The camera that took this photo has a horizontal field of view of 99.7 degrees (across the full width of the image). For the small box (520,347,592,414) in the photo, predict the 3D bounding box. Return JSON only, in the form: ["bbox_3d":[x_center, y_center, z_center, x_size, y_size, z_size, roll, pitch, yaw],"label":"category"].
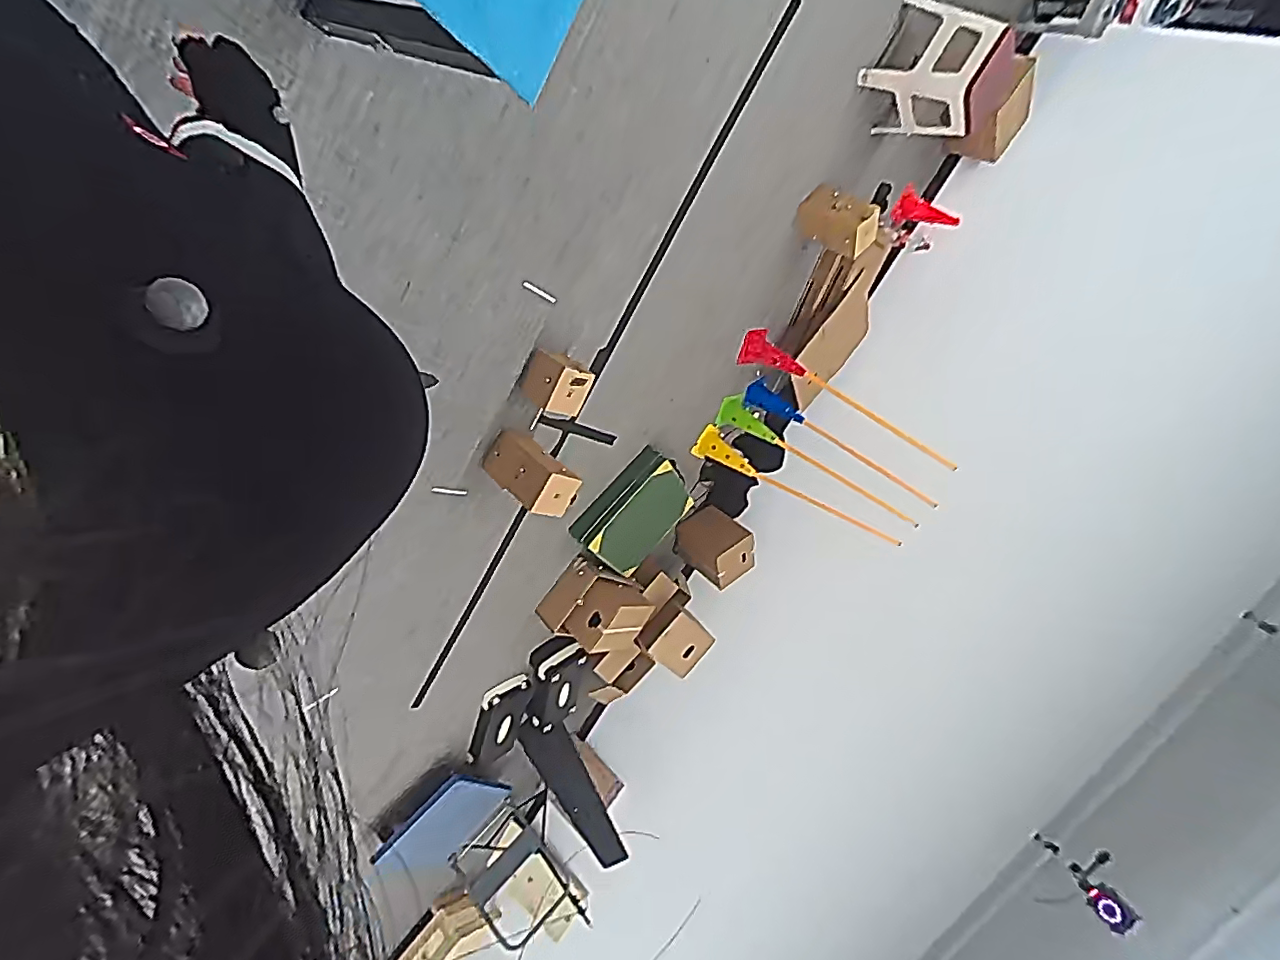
[{"bbox_3d":[-0.314,-0.367,1.986,0.168,0.176,0.179,3,120,-54],"label":"small box"}]

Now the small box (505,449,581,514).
[{"bbox_3d":[-0.359,0.005,1.995,0.179,0.176,0.168,17,107,-57],"label":"small box"}]

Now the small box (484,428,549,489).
[{"bbox_3d":[-0.472,-0.073,2.083,0.179,0.176,0.168,-56,150,10],"label":"small box"}]
